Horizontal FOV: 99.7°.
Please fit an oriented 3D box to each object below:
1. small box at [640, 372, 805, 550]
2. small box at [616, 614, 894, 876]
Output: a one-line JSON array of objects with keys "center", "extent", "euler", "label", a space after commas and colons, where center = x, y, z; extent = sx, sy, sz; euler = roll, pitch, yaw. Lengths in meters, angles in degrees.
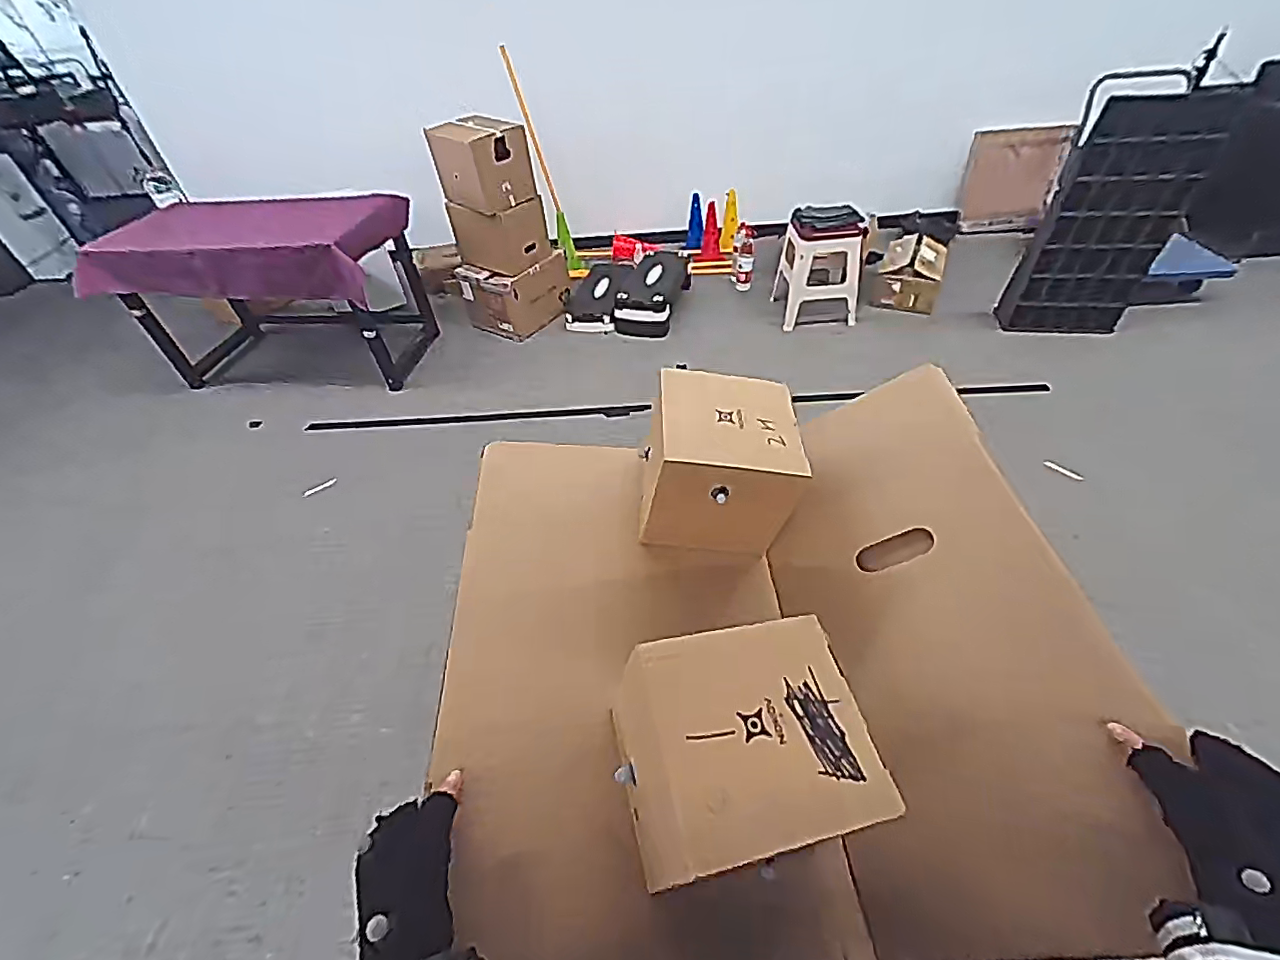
[{"center": [0.097, -0.020, 0.730], "extent": [0.179, 0.176, 0.168], "euler": [7, 50, -7], "label": "small box"}, {"center": [0.086, 0.245, 0.503], "extent": [0.179, 0.176, 0.168], "euler": [-5, 51, -16], "label": "small box"}]
